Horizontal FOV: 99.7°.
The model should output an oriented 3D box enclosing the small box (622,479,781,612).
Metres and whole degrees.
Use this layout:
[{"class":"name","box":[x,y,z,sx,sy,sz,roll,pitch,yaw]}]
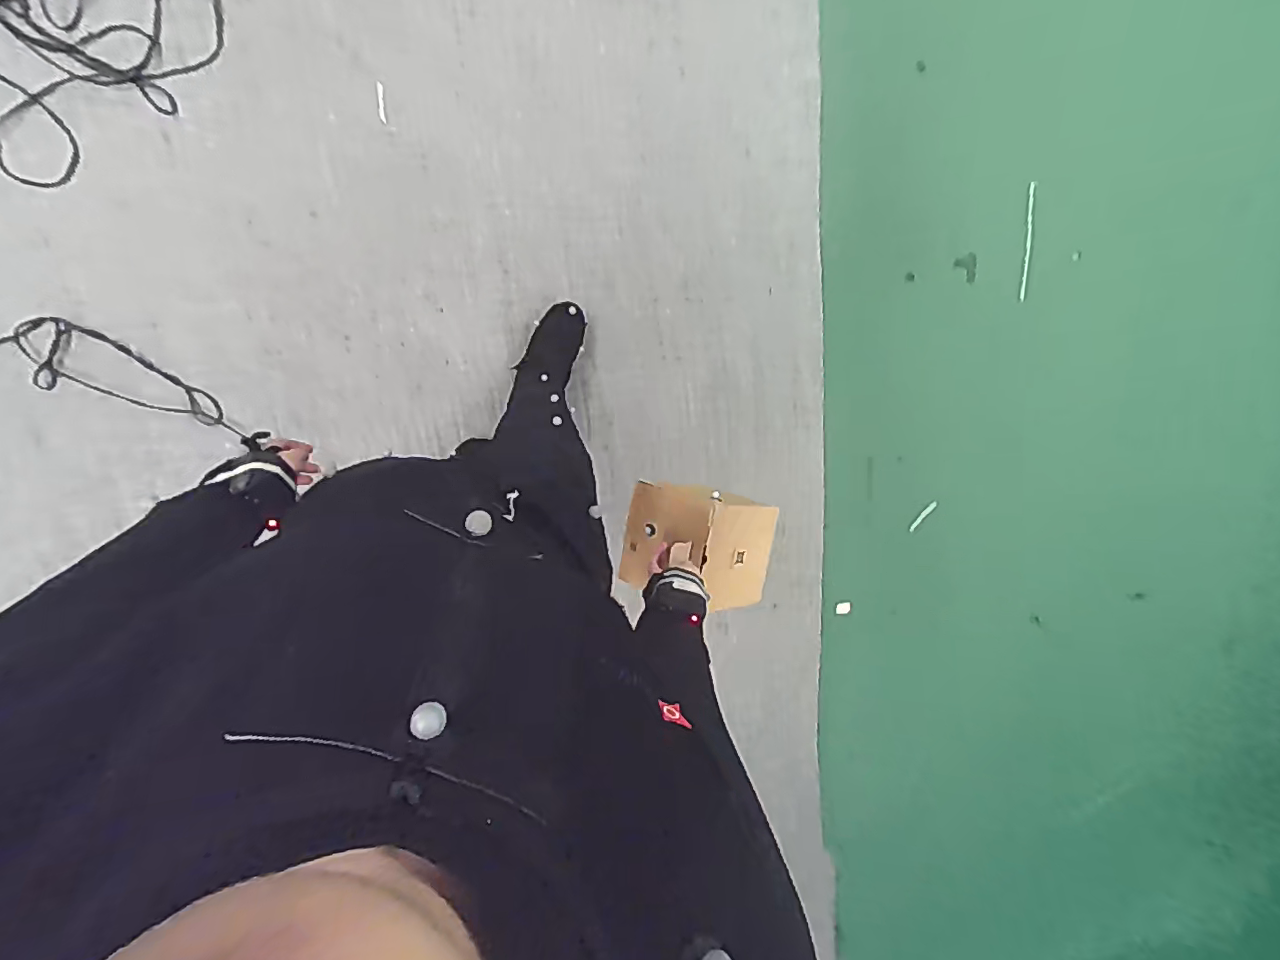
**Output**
[{"class":"small box","box":[0.098,0.094,0.870,0.179,0.176,0.168,1,100,-44]}]
